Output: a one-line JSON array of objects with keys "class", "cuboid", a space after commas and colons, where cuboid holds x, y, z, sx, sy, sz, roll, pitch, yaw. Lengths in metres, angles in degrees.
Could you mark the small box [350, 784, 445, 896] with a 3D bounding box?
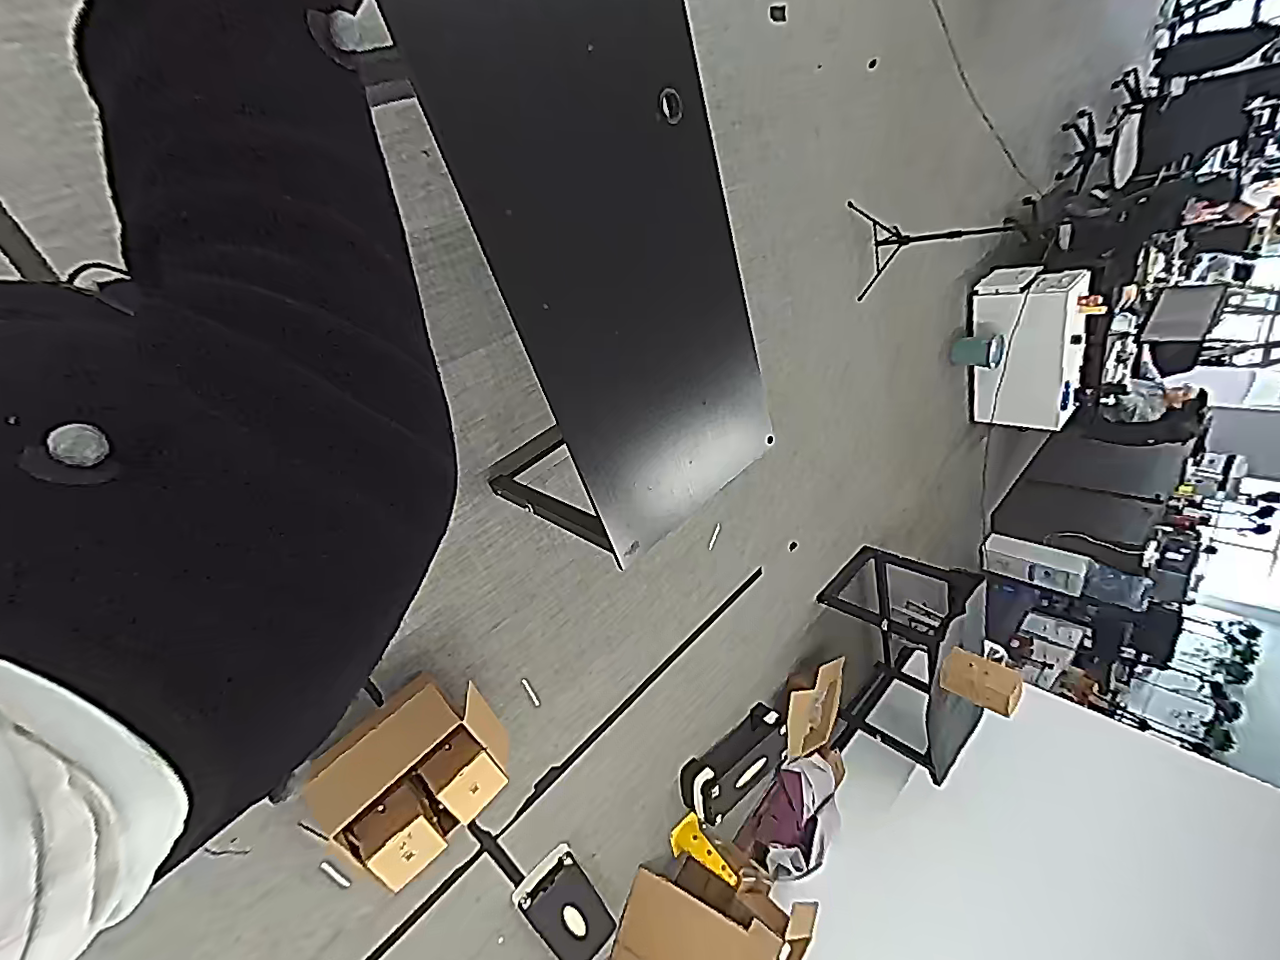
[{"class": "small box", "cuboid": [-0.693, 1.019, 1.545, 0.168, 0.176, 0.179, -35, 123, -29]}]
